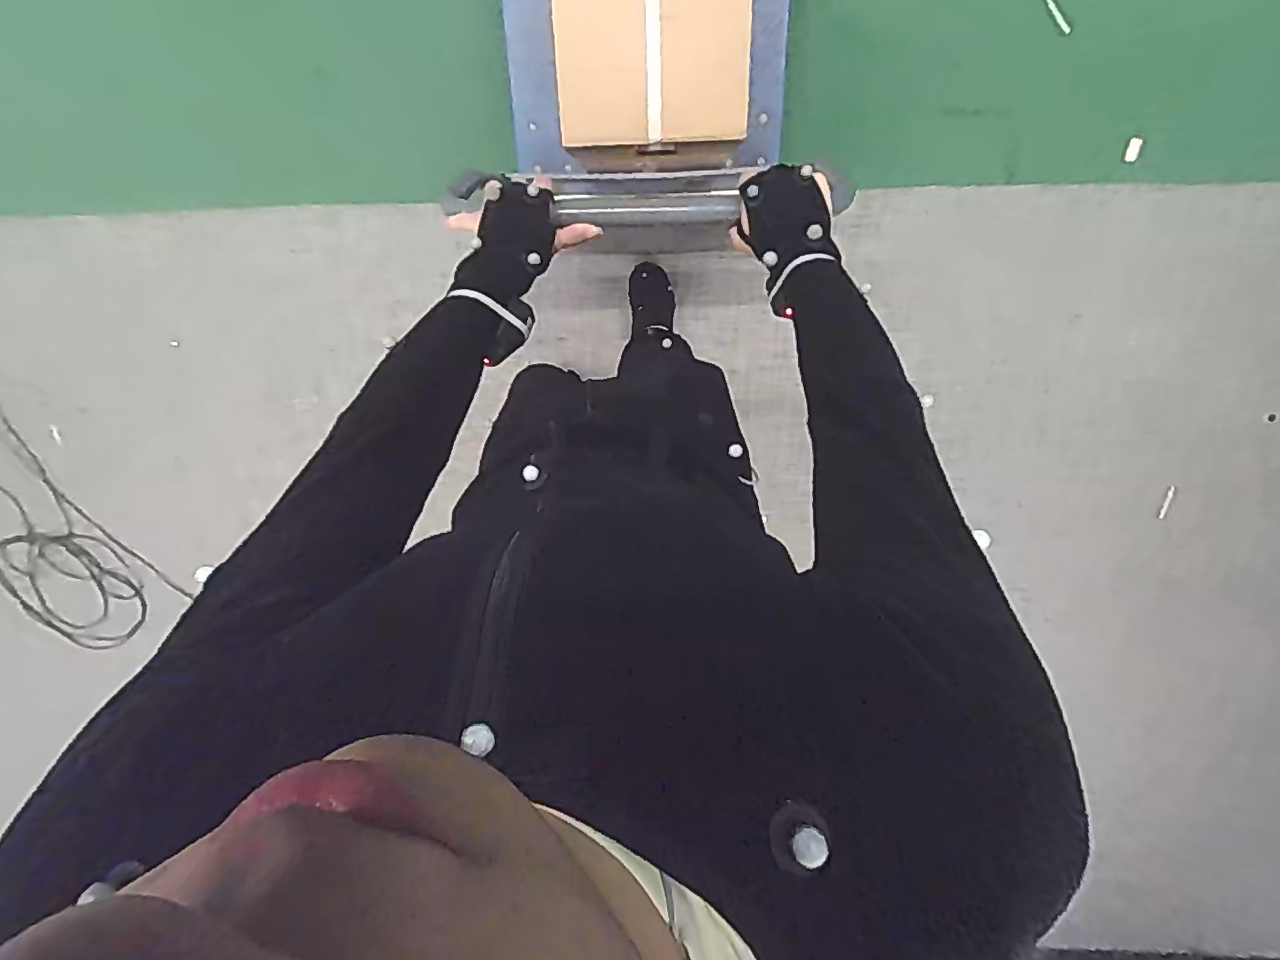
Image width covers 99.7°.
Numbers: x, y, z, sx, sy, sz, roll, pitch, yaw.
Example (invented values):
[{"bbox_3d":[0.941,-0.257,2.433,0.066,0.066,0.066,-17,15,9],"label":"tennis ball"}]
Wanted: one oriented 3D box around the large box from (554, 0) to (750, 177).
[{"bbox_3d":[0.025,-0.805,0.983,0.320,0.320,0.408,-1,113,2],"label":"large box"}]
